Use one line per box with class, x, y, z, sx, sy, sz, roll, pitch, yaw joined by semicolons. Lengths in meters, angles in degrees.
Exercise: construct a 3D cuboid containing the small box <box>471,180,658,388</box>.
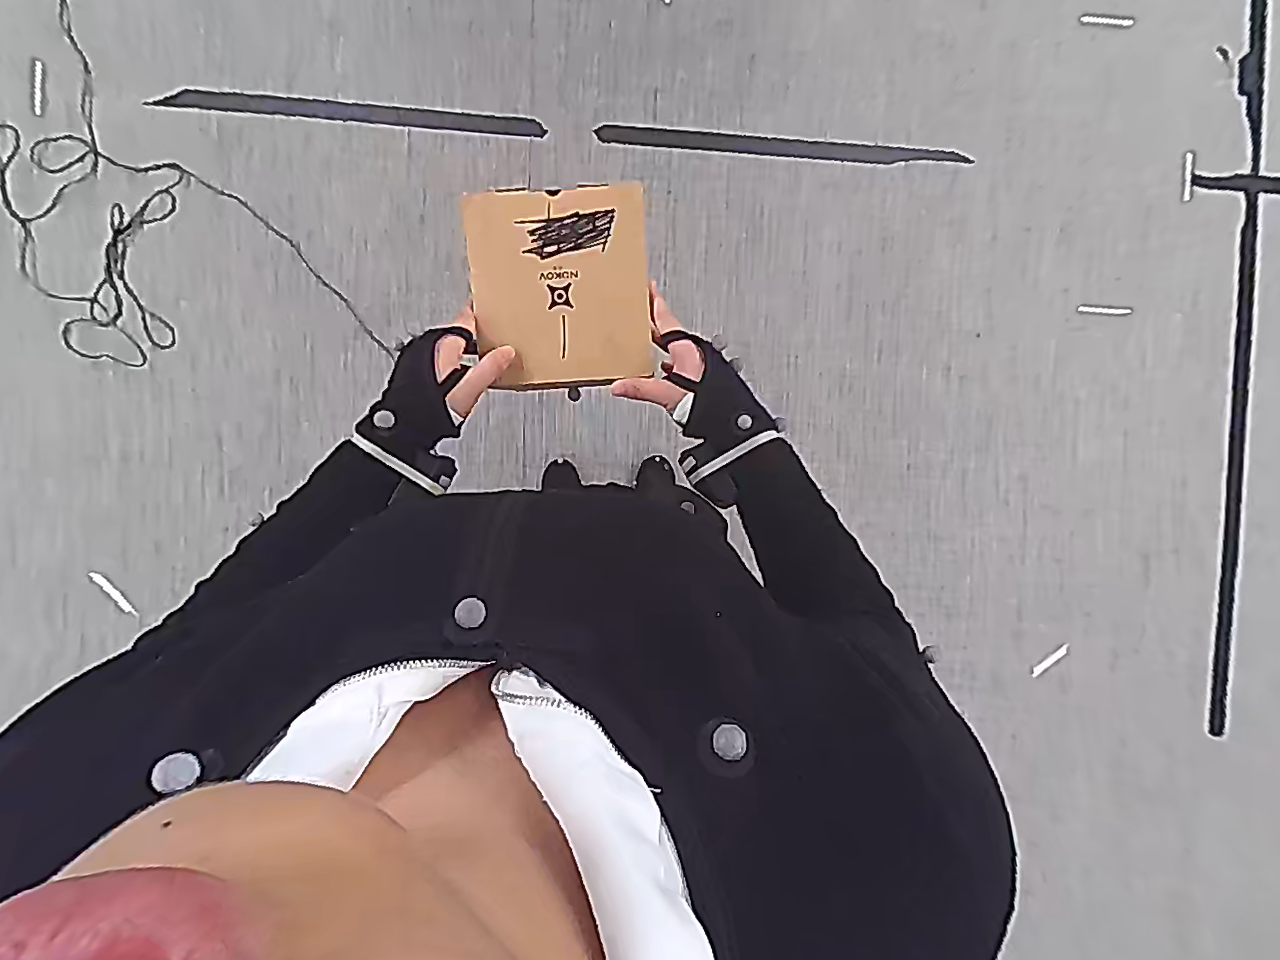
small box;-0.071;-0.194;0.580;0.168;0.176;0.179;-4;99;0
